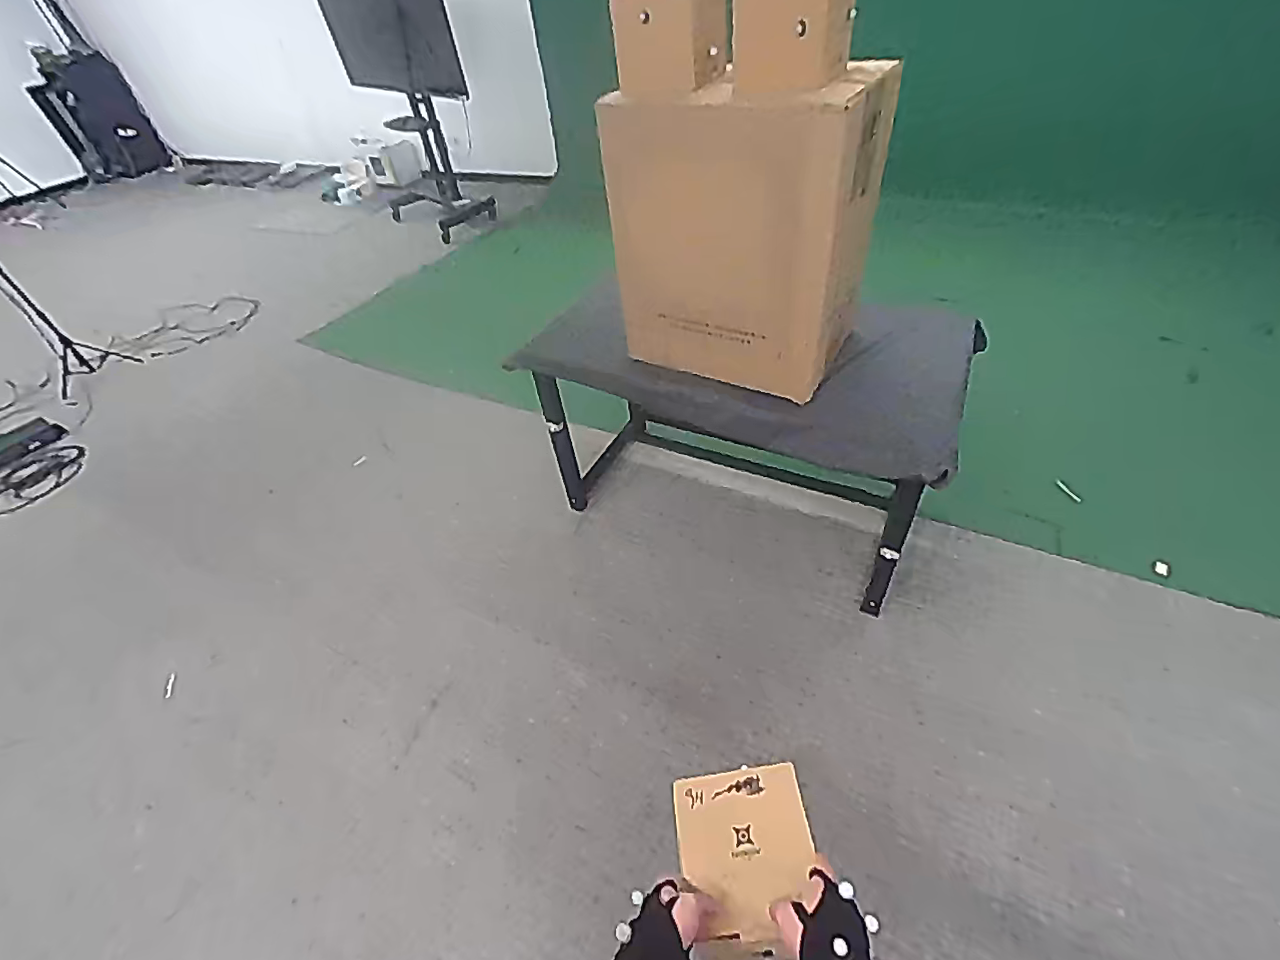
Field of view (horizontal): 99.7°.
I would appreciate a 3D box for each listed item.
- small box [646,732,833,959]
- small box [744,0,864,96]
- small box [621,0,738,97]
[{"bbox_3d":[0.139,0.491,0.725,0.179,0.176,0.168,-33,38,-17],"label":"small box"},{"bbox_3d":[0.307,-0.834,1.005,0.179,0.176,0.168,20,52,27],"label":"small box"},{"bbox_3d":[0.088,-0.907,1.109,0.179,0.176,0.168,21,55,28],"label":"small box"}]
